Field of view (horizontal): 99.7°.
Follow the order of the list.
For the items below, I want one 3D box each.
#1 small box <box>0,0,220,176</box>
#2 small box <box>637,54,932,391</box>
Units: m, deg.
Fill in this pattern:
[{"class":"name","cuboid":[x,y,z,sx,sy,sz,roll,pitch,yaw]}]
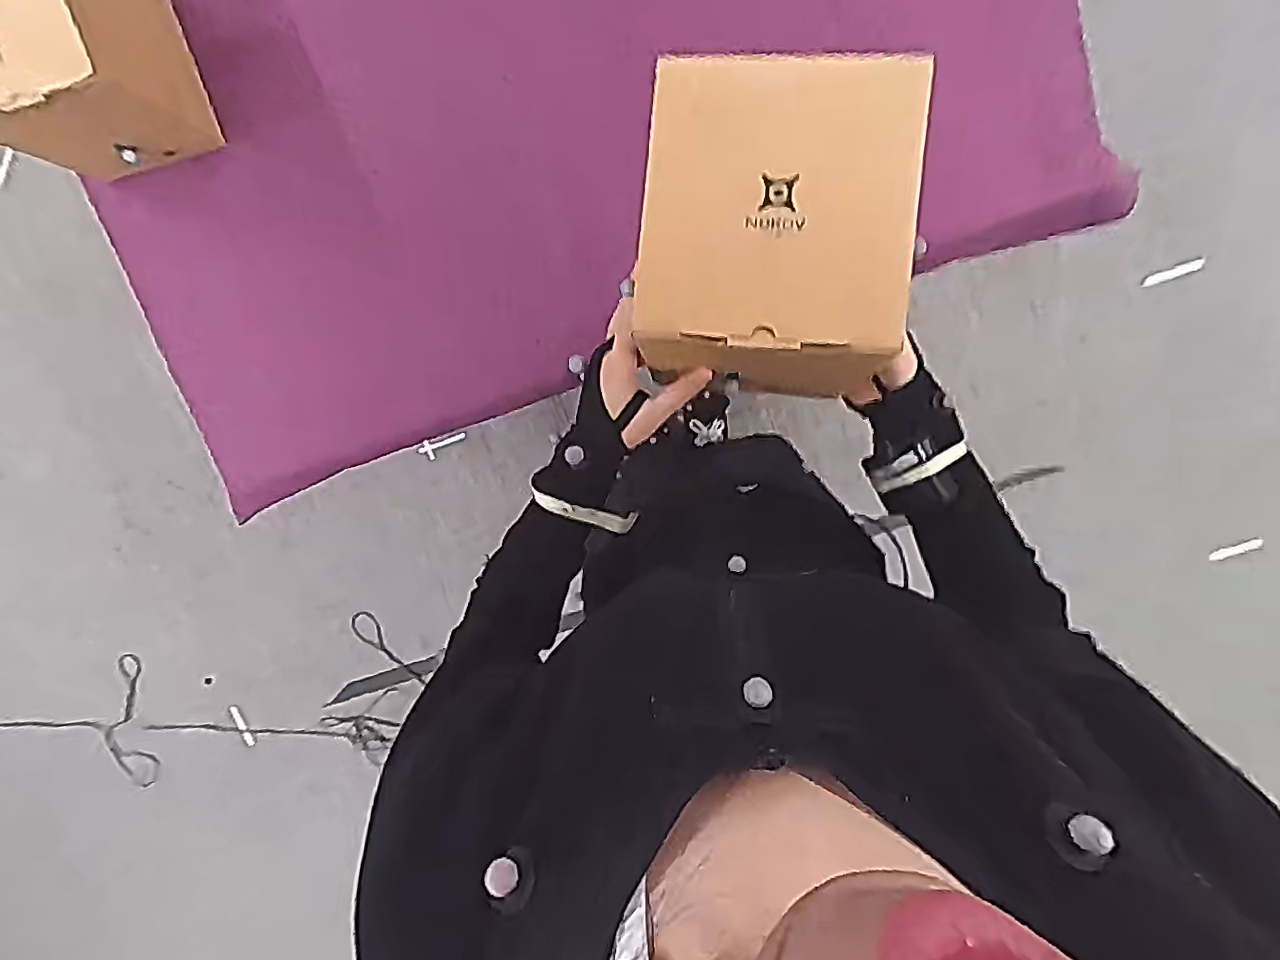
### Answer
[{"class":"small box","cuboid":[-0.611,-0.460,0.574,0.168,0.176,0.179,-15,103,3]},{"class":"small box","cuboid":[0.094,-0.172,0.410,0.168,0.176,0.179,5,92,7]}]
